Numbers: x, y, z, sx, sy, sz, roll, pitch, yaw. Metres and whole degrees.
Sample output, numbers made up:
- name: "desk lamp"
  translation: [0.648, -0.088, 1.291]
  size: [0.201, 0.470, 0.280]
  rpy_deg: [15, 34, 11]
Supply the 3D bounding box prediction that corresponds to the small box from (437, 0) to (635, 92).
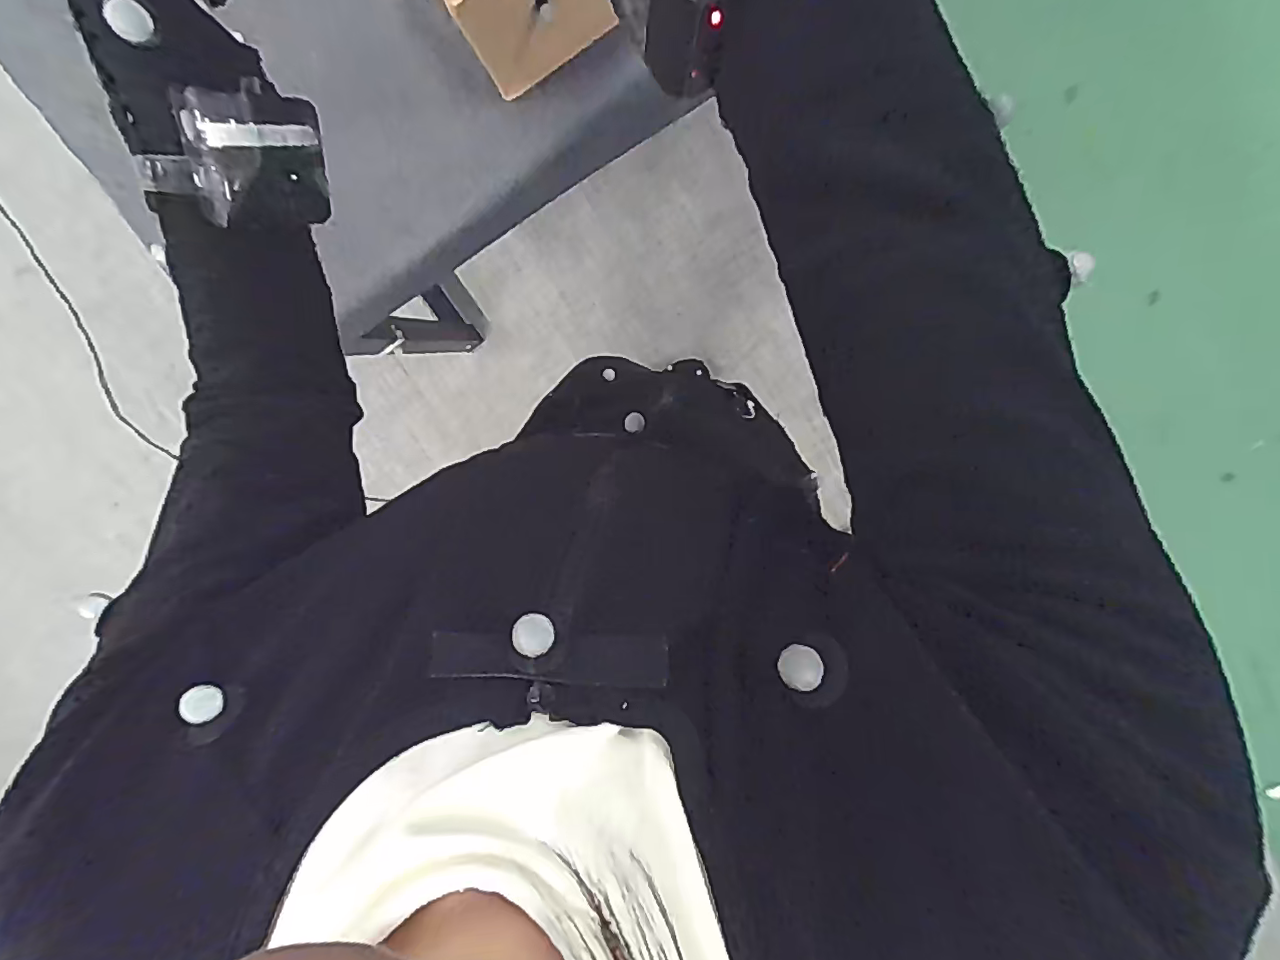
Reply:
- name: "small box"
  translation: [-0.115, -0.505, 0.487]
  size: [0.179, 0.176, 0.168]
  rpy_deg: [-29, 99, 11]
